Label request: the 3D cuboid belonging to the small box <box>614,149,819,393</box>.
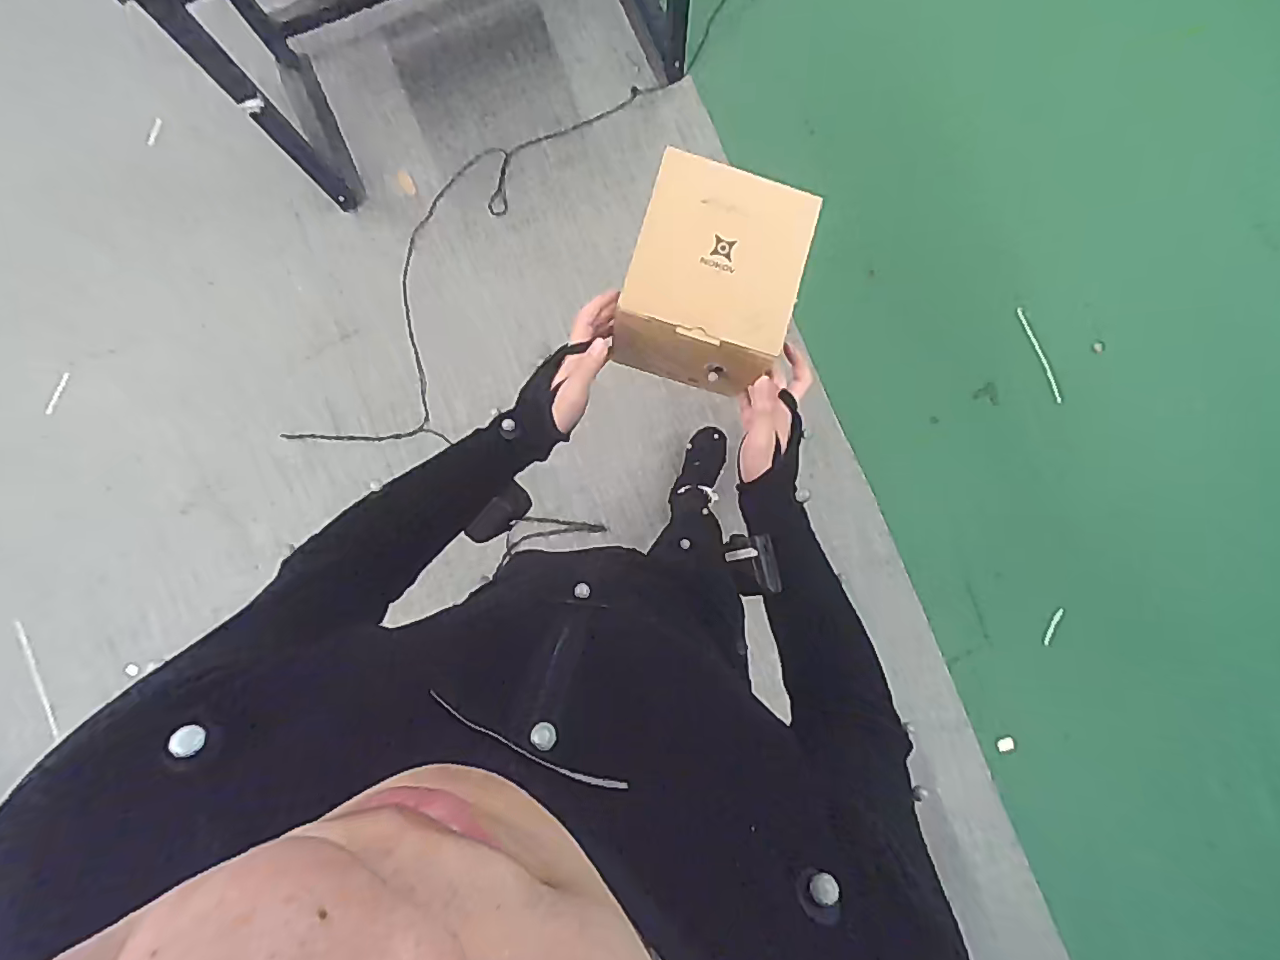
[{"bbox_3d":[0.072,-0.214,0.605,0.168,0.176,0.179,17,84,-4],"label":"small box"}]
